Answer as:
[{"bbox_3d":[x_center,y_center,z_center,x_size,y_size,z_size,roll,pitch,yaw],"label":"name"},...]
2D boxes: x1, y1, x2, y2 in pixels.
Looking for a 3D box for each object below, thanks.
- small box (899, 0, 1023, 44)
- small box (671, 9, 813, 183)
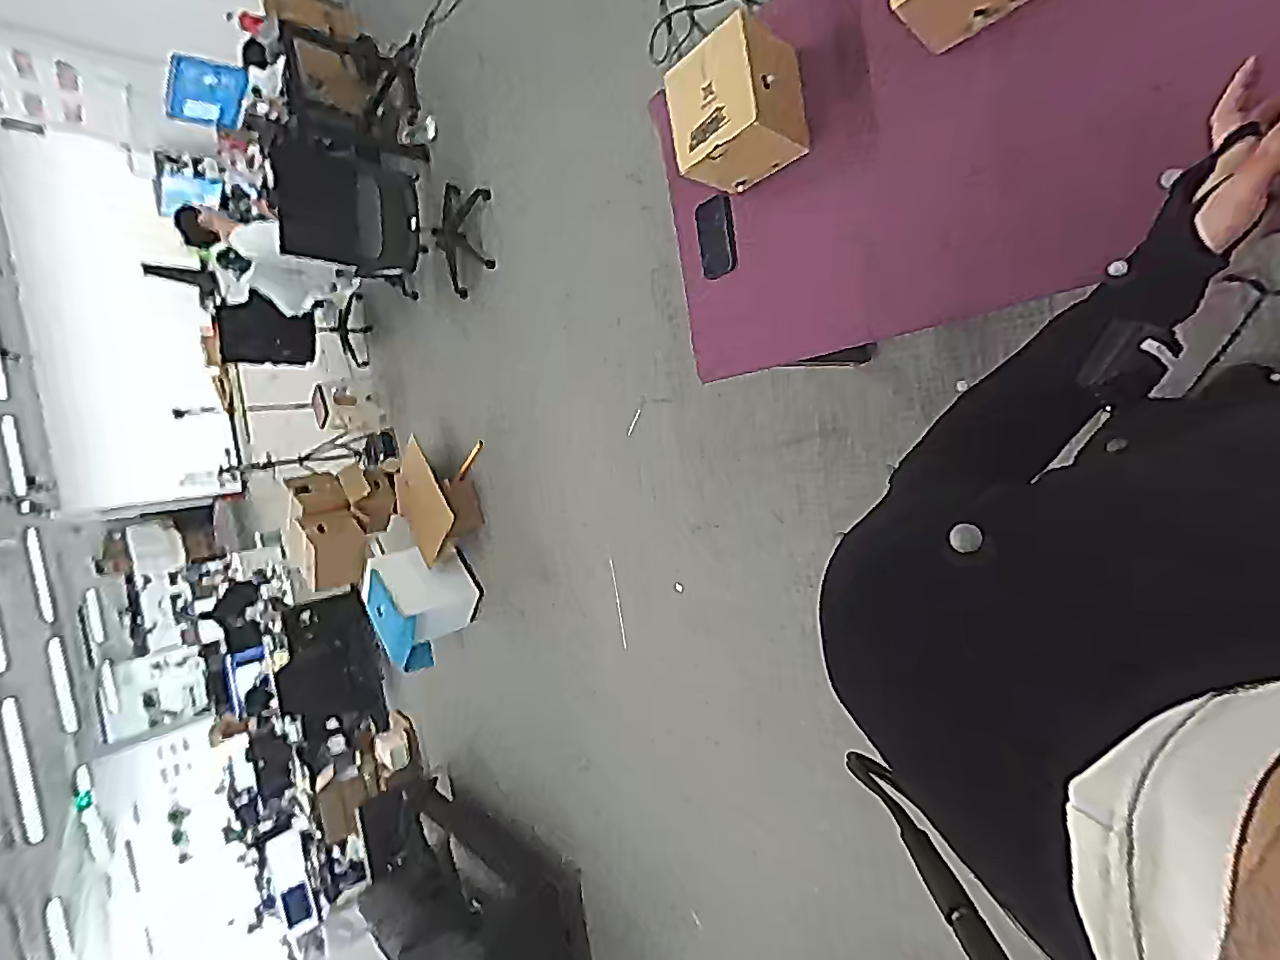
[{"bbox_3d":[0.420,-0.706,0.672,0.168,0.176,0.179,-8,94,49],"label":"small box"},{"bbox_3d":[0.182,-0.646,0.944,0.168,0.176,0.179,-8,92,48],"label":"small box"}]
